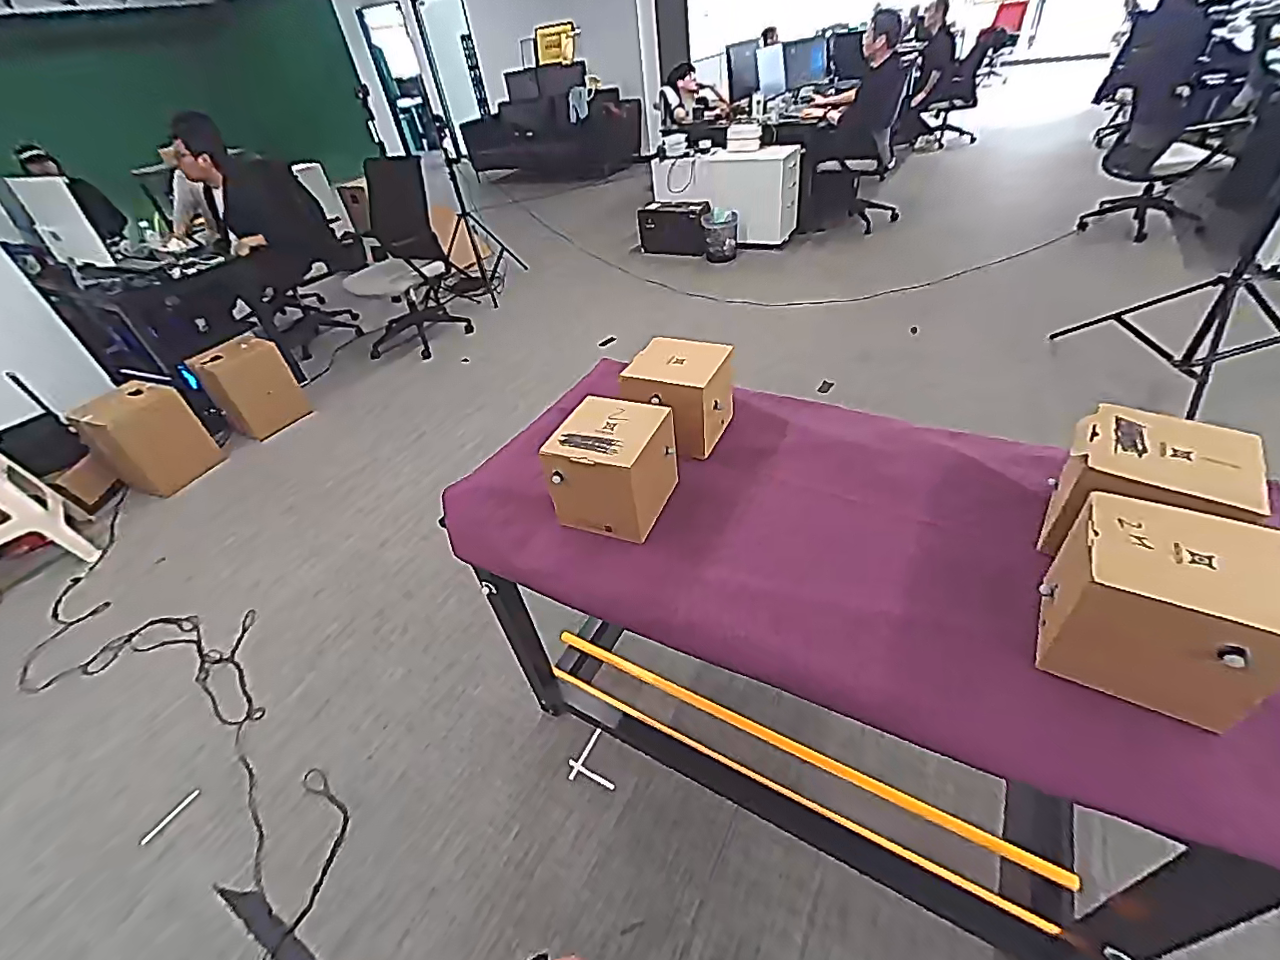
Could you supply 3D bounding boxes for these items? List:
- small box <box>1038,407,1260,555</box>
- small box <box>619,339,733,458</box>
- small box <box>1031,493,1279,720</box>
[{"bbox_3d":[0.696,0.027,0.758,0.179,0.176,0.168,22,50,30],"label":"small box"},{"bbox_3d":[0.080,-0.164,1.098,0.179,0.176,0.168,13,45,24],"label":"small box"},{"bbox_3d":[0.596,0.148,0.633,0.179,0.176,0.168,17,45,28],"label":"small box"}]
